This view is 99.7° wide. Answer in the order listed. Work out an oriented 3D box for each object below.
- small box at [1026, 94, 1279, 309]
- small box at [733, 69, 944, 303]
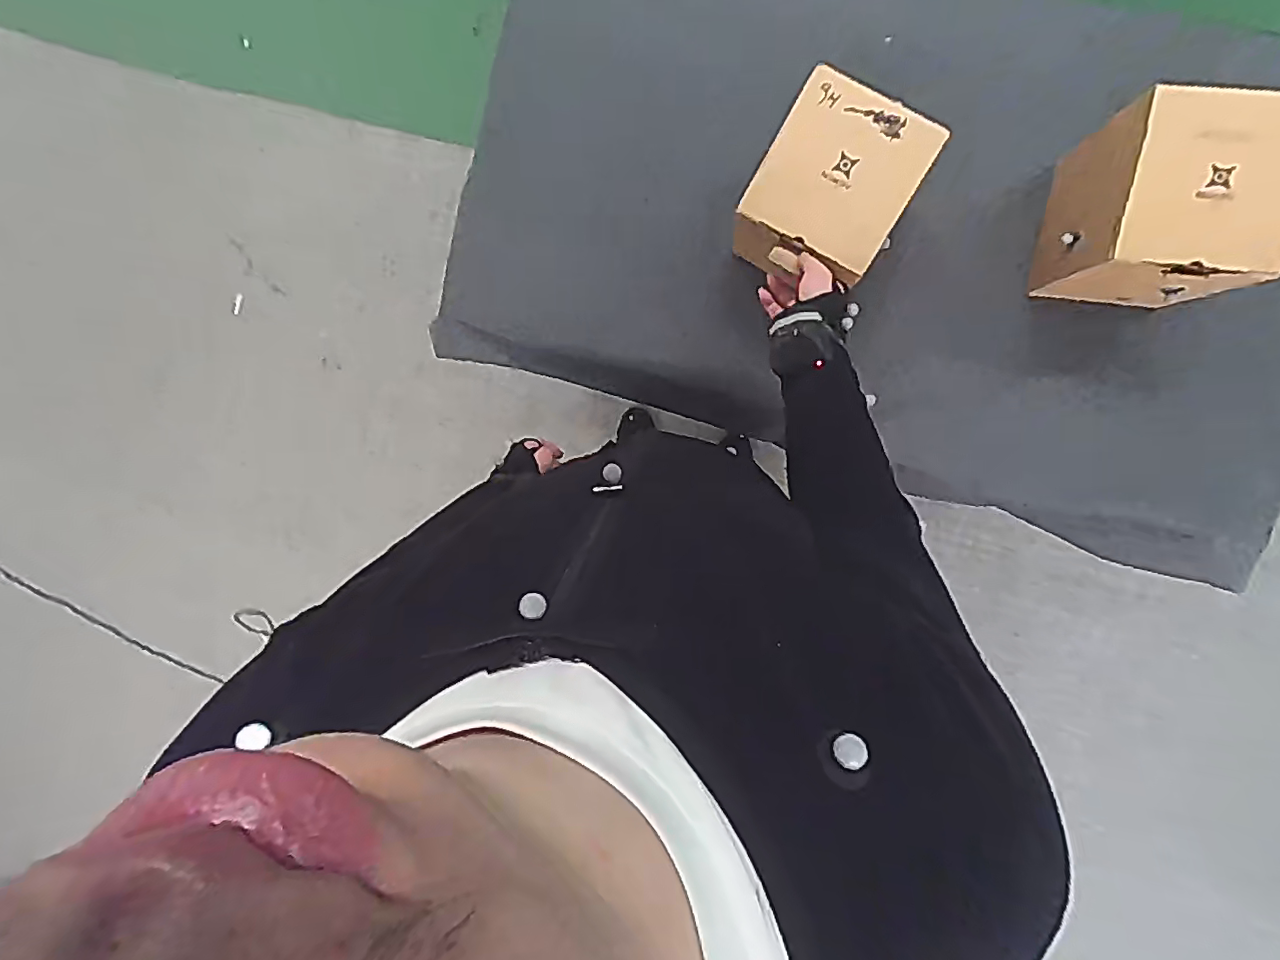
[{"bbox_3d":[0.599,-0.311,0.639,0.168,0.176,0.179,9,97,5],"label":"small box"},{"bbox_3d":[0.232,-0.349,0.684,0.168,0.176,0.179,31,100,3],"label":"small box"}]
